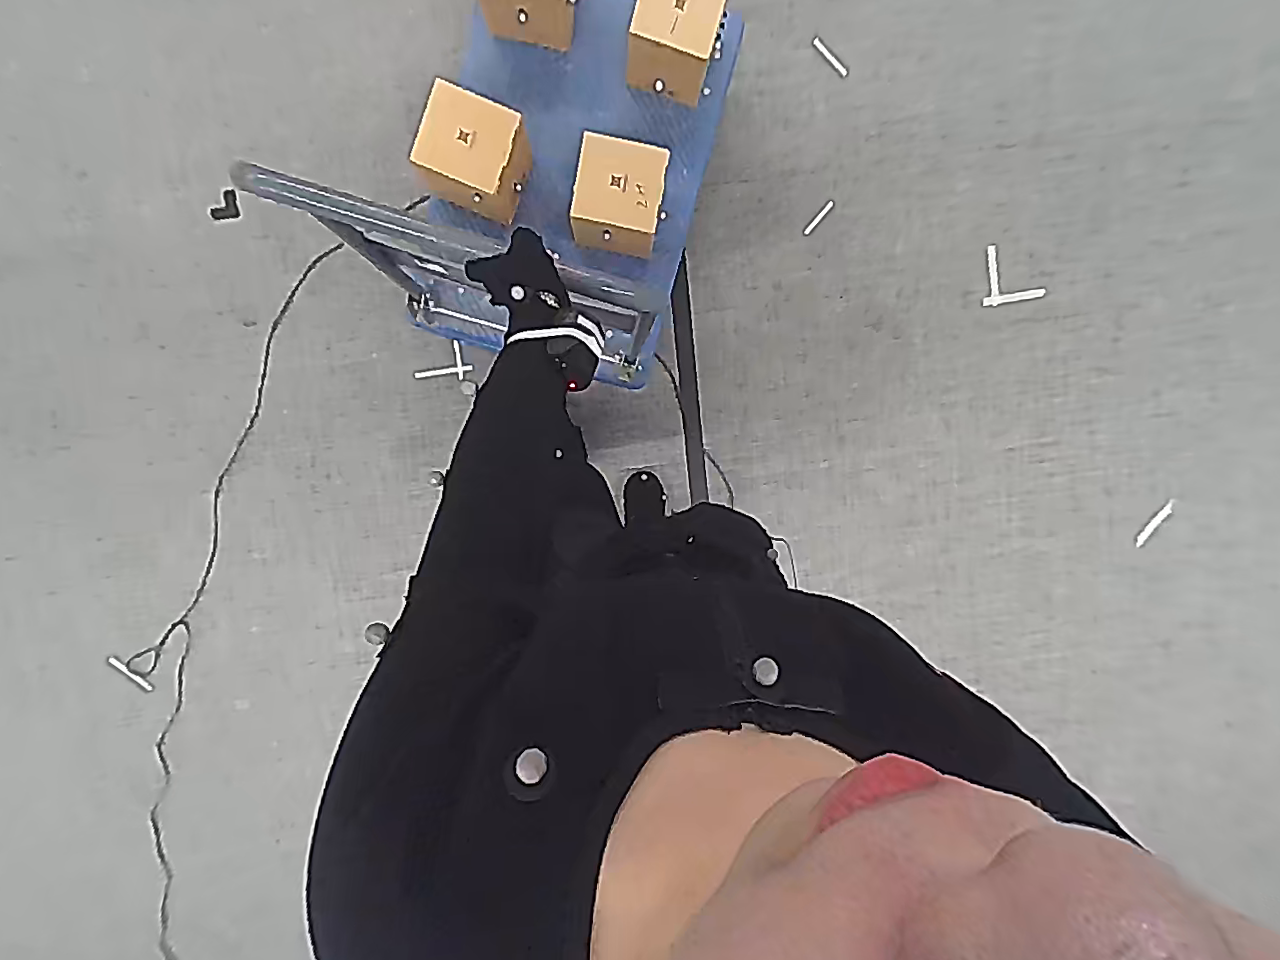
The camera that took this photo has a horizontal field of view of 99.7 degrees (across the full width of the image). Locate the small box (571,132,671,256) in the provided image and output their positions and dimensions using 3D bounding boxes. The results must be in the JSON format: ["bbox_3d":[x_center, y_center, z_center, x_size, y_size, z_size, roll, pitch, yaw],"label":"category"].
[{"bbox_3d":[-0.041,-0.594,1.148,0.179,0.176,0.168,11,96,-4],"label":"small box"}]

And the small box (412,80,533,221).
[{"bbox_3d":[-0.339,-0.671,1.126,0.179,0.176,0.168,20,94,-6],"label":"small box"}]

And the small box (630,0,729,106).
[{"bbox_3d":[0.079,-0.931,1.119,0.168,0.176,0.179,16,96,-5],"label":"small box"}]
